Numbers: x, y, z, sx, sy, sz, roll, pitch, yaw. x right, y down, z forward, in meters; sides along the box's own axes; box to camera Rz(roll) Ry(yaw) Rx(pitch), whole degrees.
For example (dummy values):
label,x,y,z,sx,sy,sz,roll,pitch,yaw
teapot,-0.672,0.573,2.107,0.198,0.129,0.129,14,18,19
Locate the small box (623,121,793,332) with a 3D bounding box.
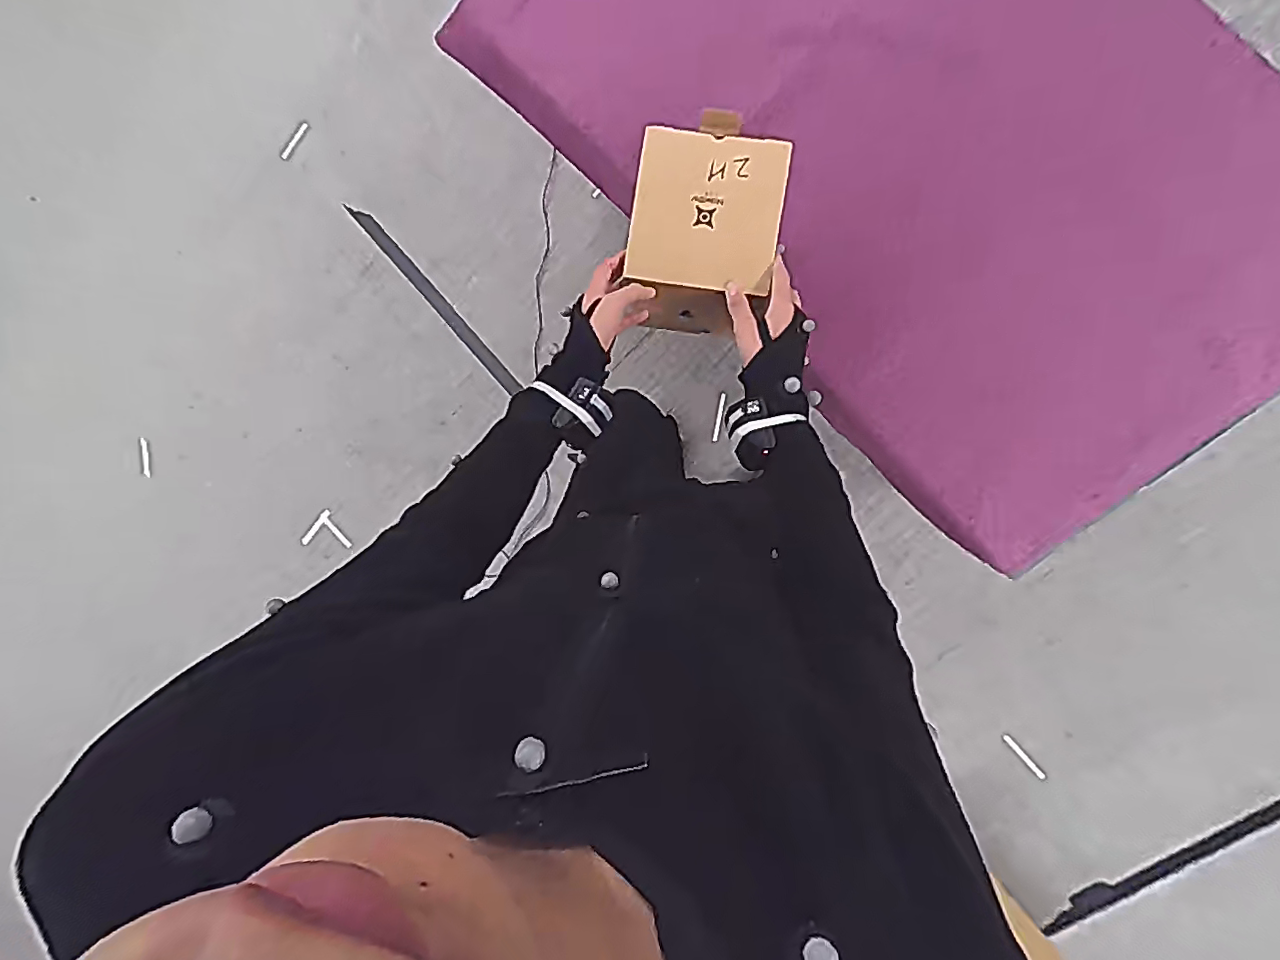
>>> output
label,x,y,z,sx,sy,sz,roll,pitch,yaw
small box,0.079,-0.301,0.679,0.168,0.176,0.179,10,89,2
